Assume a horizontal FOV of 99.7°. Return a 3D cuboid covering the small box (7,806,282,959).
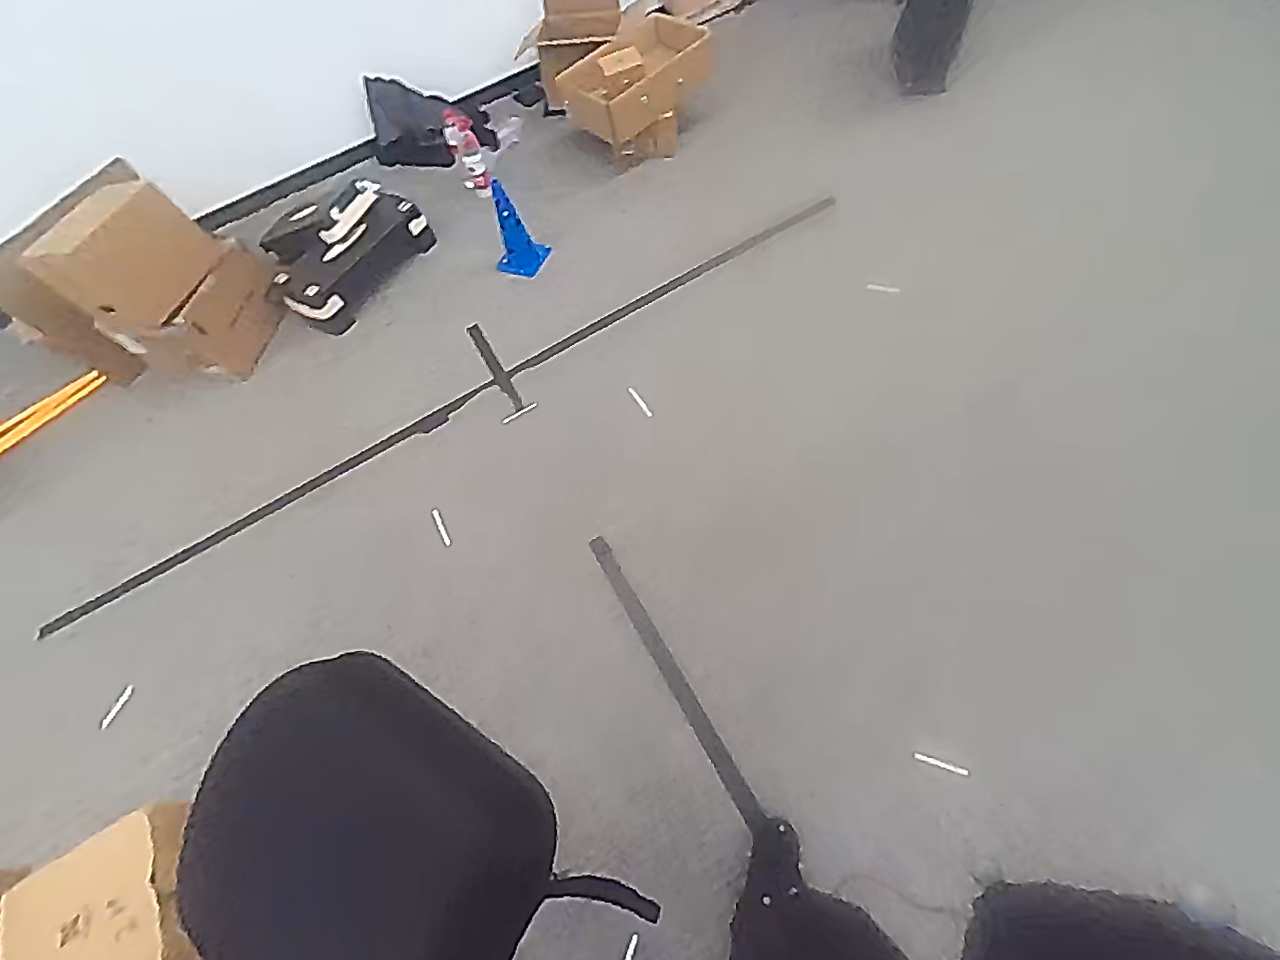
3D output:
[{"bbox_3d":[-0.580,0.523,0.648,0.179,0.176,0.168,-32,63,-8],"label":"small box"}]
